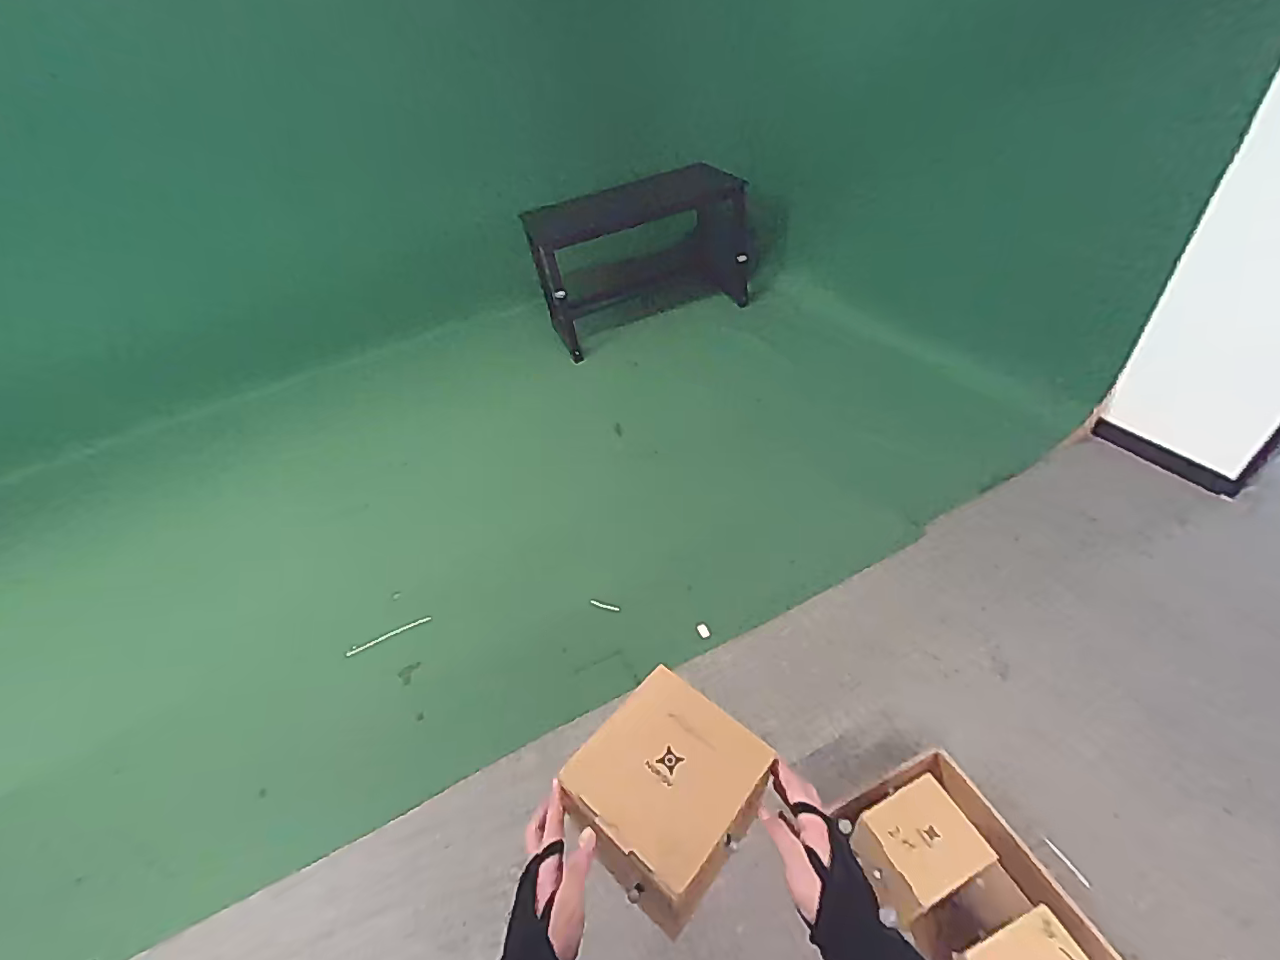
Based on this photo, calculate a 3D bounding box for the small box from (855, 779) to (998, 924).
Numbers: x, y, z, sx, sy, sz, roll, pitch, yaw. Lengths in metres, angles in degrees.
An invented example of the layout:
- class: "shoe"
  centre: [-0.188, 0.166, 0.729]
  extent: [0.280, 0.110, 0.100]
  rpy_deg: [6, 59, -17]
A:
- class: "small box"
  centre: [0.556, 0.739, 1.077]
  extent: [0.179, 0.176, 0.168]
  rpy_deg: [-22, 44, -11]
